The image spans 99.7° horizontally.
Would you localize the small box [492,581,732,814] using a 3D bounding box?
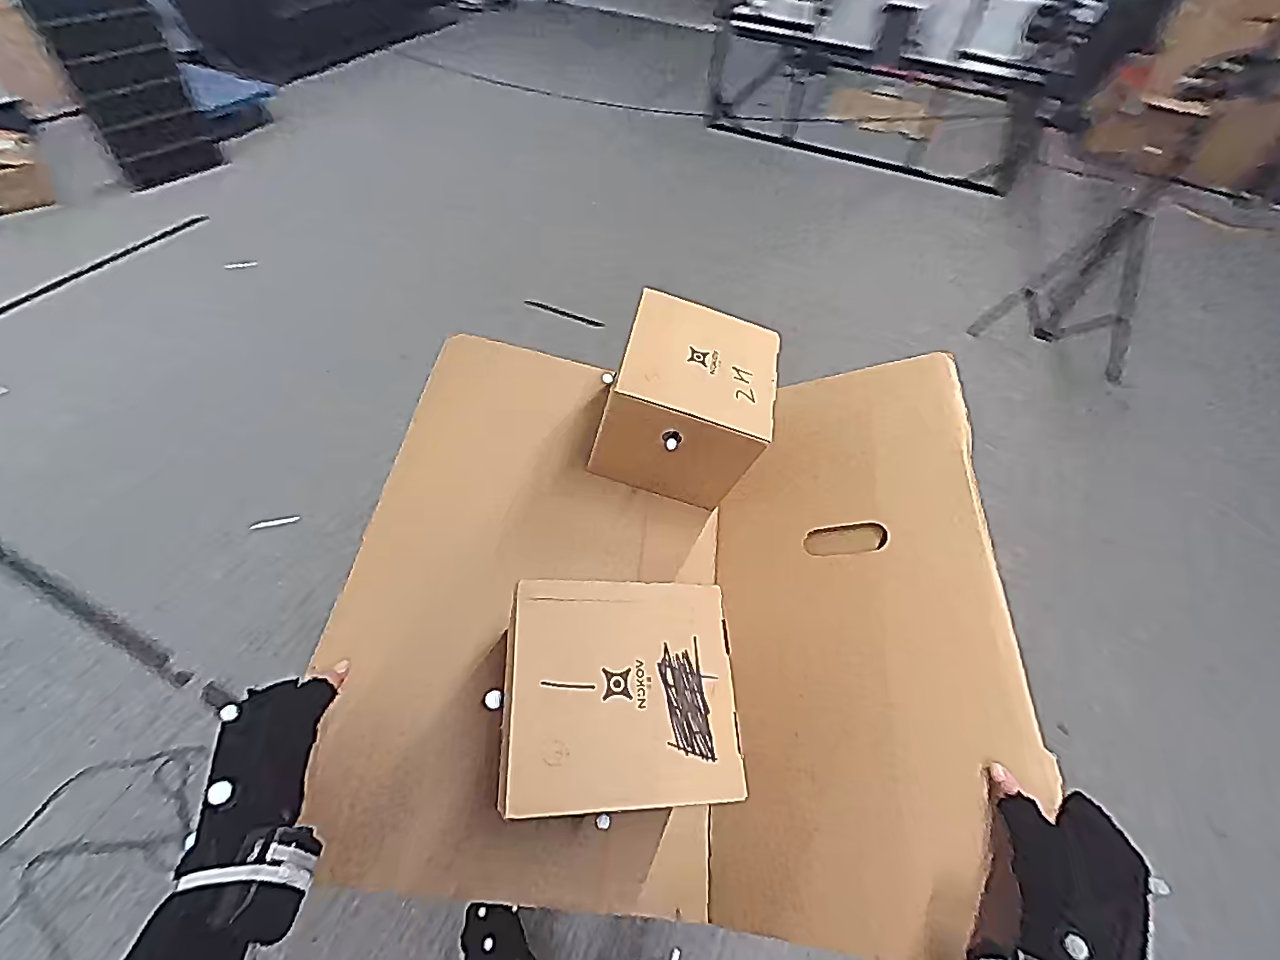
[{"bbox_3d":[-0.037,0.198,0.492,0.179,0.176,0.168,4,61,-14],"label":"small box"}]
